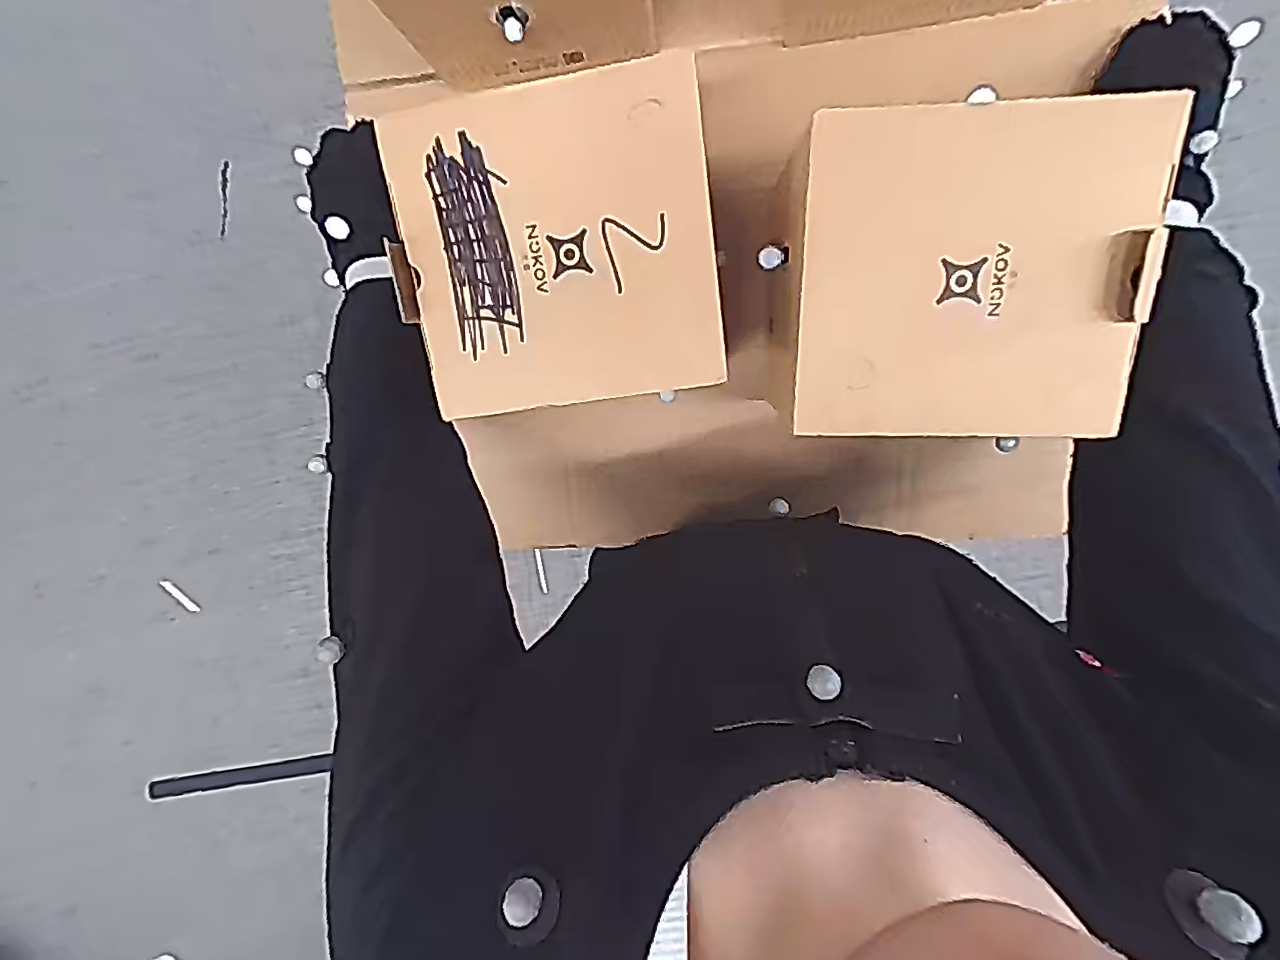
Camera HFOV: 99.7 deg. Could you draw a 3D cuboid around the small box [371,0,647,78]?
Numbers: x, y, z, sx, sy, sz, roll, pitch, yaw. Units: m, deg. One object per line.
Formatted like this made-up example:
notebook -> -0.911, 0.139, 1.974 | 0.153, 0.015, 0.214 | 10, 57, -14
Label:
small box -> -0.088, -0.381, 0.328 | 0.168, 0.176, 0.179 | -3, 101, 7
